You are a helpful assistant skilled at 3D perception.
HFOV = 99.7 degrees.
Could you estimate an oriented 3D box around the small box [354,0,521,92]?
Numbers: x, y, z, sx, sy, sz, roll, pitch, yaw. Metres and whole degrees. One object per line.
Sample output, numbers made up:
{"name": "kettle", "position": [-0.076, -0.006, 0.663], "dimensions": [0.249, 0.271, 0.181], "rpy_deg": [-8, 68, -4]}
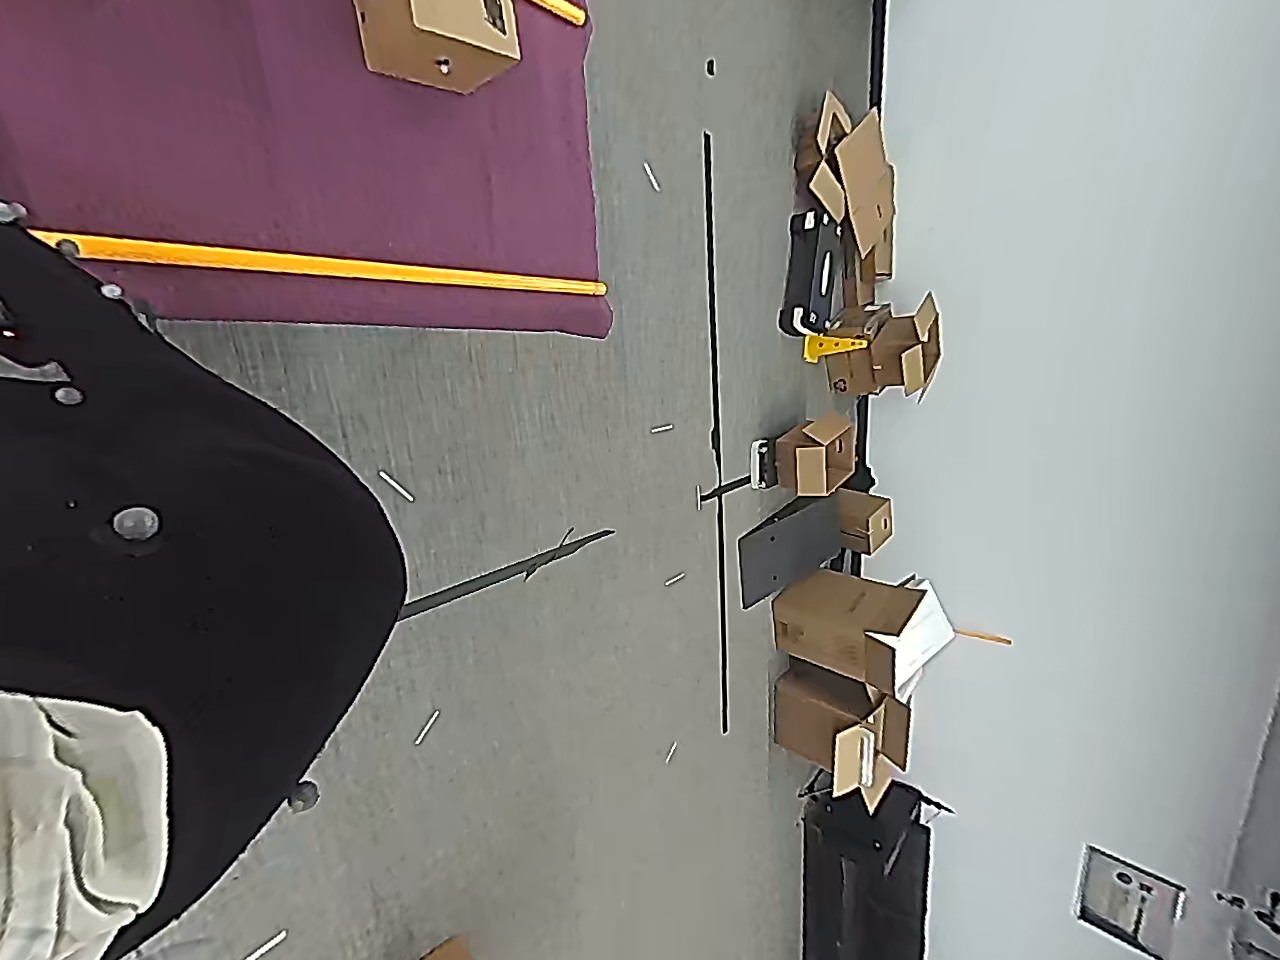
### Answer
{"name": "small box", "position": [-0.307, -0.712, 0.809], "dimensions": [0.179, 0.176, 0.168], "rpy_deg": [-21, 113, -42]}
